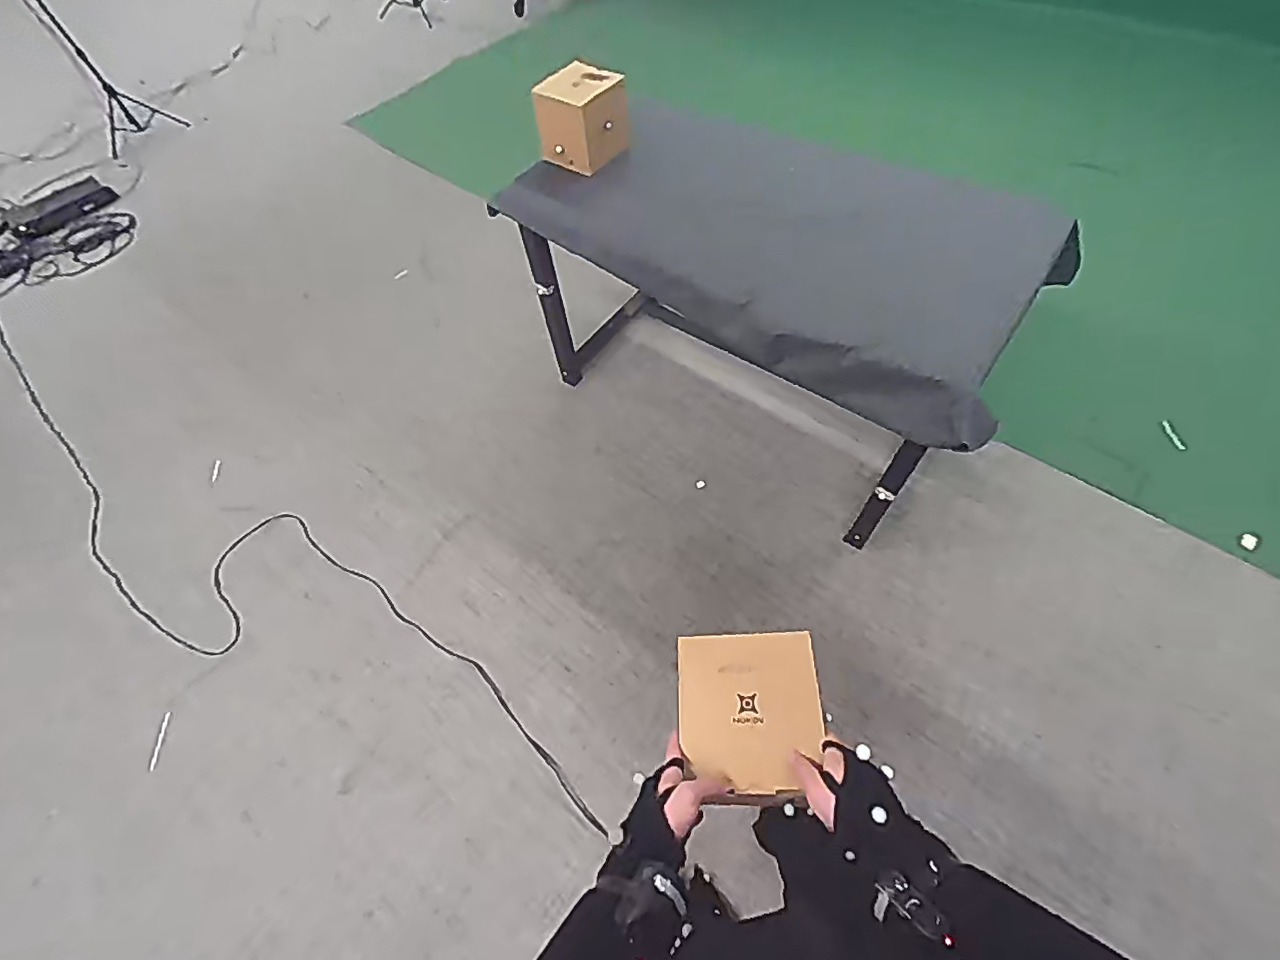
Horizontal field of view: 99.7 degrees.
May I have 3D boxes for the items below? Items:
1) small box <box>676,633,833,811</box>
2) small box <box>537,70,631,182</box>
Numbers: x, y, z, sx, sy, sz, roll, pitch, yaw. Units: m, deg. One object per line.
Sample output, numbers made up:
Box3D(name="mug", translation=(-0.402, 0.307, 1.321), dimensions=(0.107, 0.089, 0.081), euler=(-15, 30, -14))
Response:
Box3D(name="small box", translation=(0.139, 0.308, 0.678), dimensions=(0.168, 0.176, 0.179), euler=(-6, 52, 10))
Box3D(name="small box", translation=(-0.135, -0.909, 1.391), dimensions=(0.168, 0.176, 0.179), euler=(31, 65, 21))
